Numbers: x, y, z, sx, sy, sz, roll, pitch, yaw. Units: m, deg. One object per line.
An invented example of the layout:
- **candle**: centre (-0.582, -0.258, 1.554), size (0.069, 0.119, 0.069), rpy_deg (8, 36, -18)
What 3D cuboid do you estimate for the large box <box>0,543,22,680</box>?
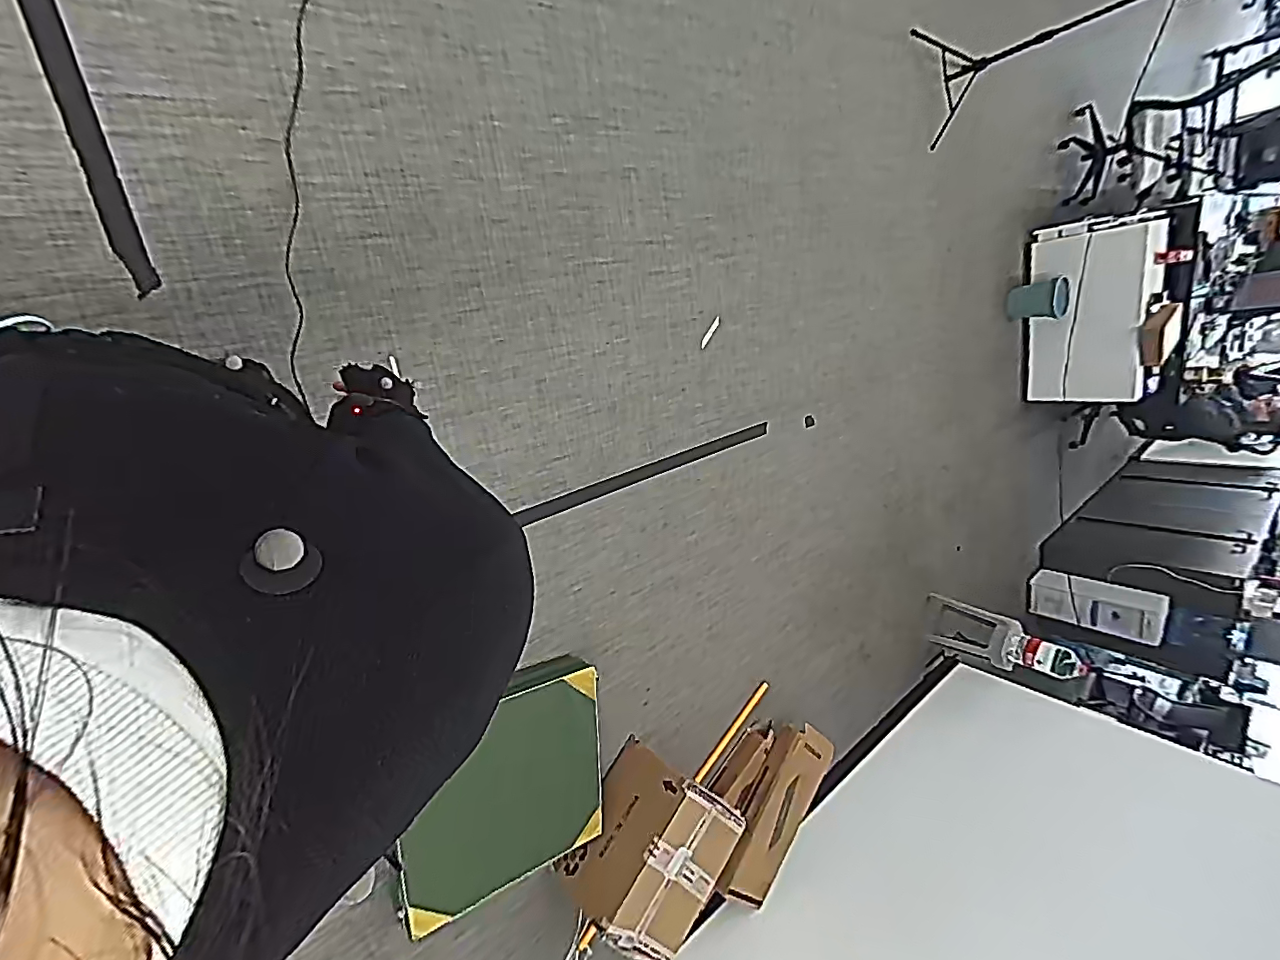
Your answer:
- **large box**: centre (-0.926, 0.044, 0.538), size (0.320, 0.408, 0.320), rpy_deg (-19, 149, -39)
